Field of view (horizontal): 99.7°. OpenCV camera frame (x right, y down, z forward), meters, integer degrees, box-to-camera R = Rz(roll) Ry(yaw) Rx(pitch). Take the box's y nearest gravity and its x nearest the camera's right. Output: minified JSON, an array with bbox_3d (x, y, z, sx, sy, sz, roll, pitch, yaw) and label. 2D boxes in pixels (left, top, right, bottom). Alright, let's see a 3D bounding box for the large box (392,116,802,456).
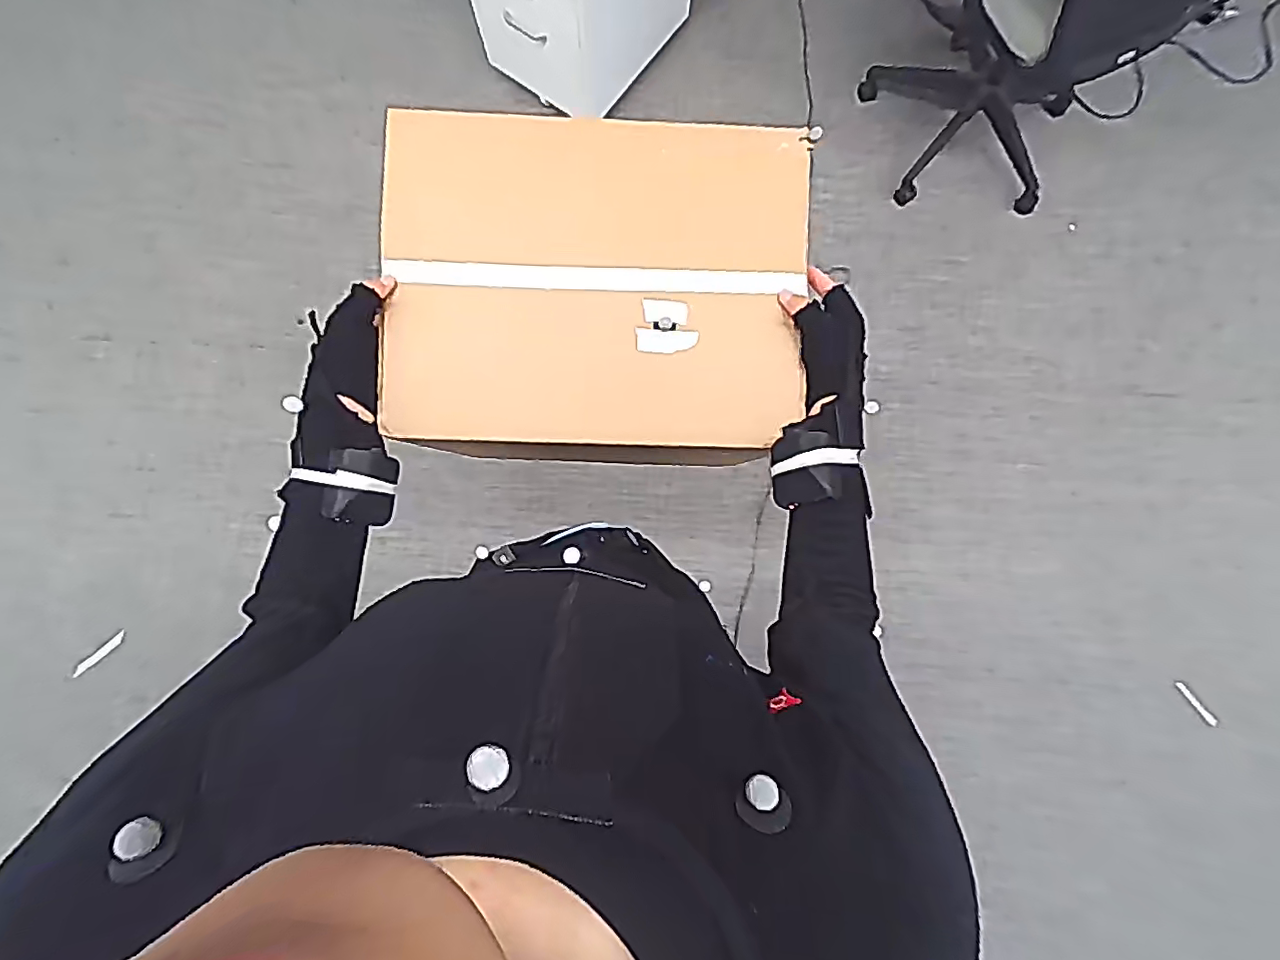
[{"bbox_3d":[-0.047,-0.195,0.679,0.408,0.320,0.320,2,90,-3],"label":"large box"}]
